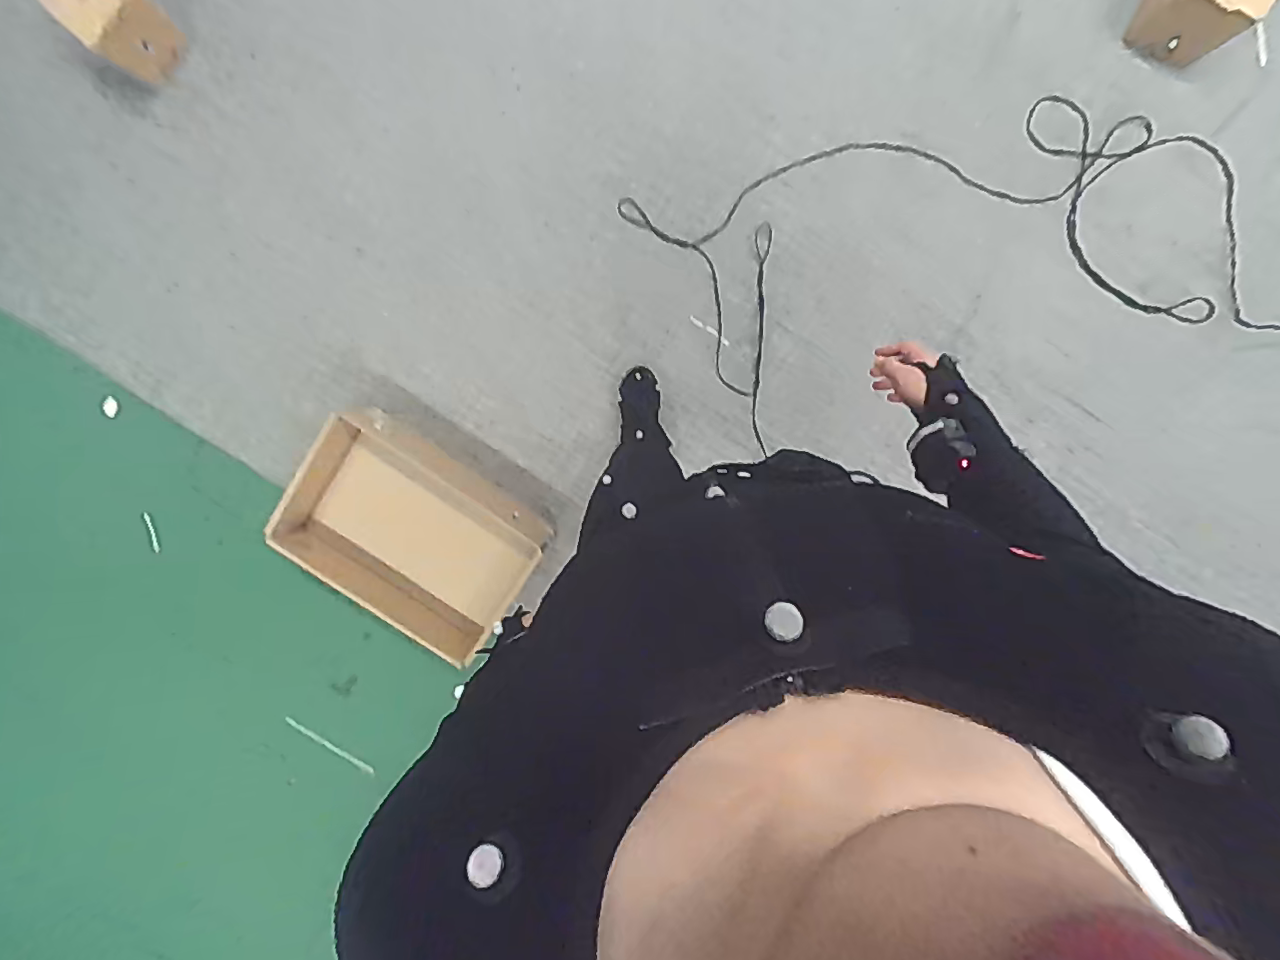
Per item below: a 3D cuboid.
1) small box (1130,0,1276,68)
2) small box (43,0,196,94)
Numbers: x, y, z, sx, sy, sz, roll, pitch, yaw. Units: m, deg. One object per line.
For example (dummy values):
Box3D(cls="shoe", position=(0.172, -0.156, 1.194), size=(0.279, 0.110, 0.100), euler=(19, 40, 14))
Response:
Box3D(cls="small box", position=(1.223, -1.046, 1.157), size=(0.168, 0.176, 0.179), euler=(23, 100, 0))
Box3D(cls="small box", position=(-1.250, -1.091, 1.313), size=(0.179, 0.176, 0.168), euler=(44, 98, -3))
